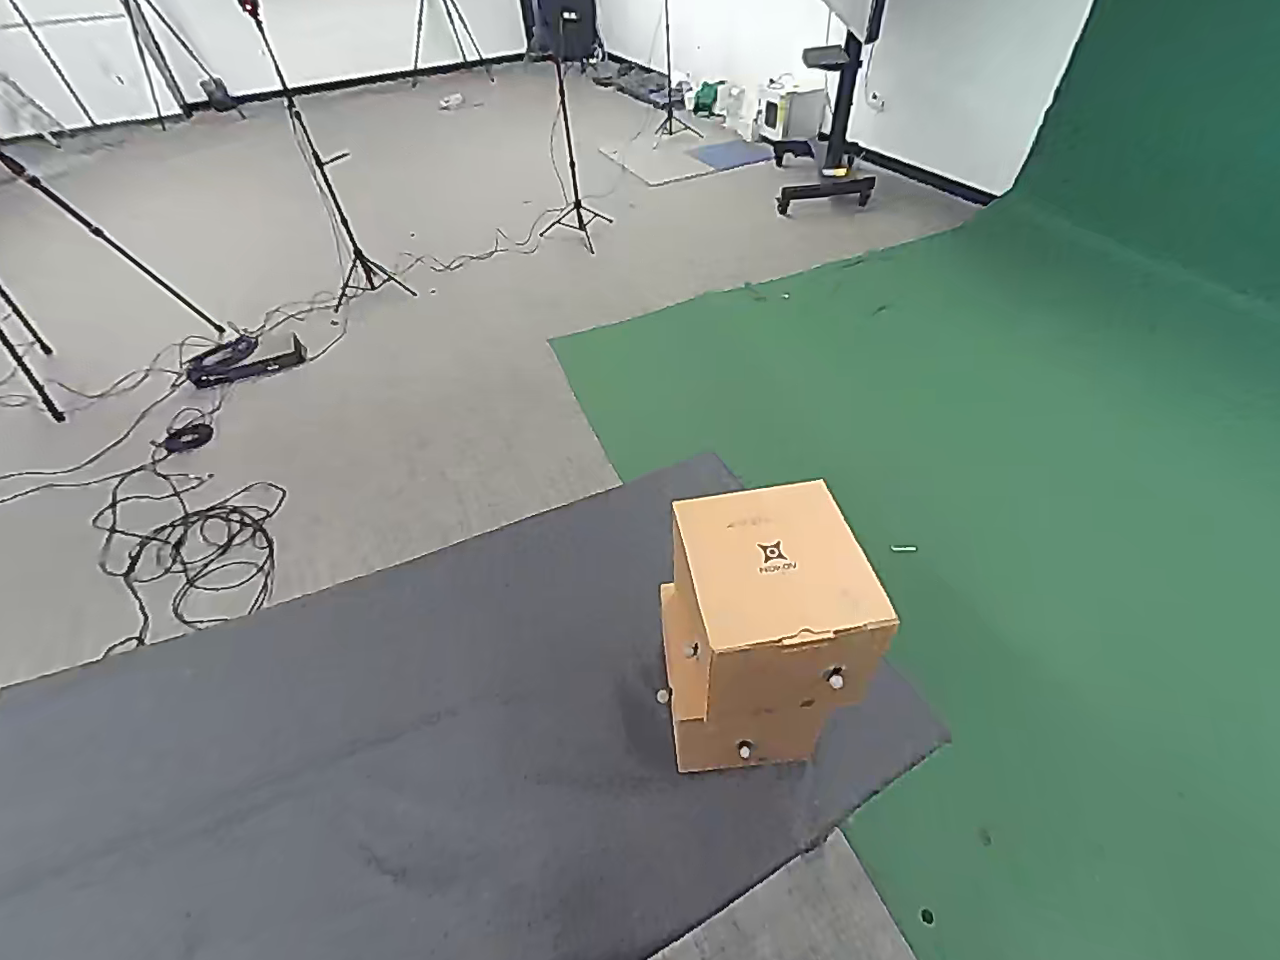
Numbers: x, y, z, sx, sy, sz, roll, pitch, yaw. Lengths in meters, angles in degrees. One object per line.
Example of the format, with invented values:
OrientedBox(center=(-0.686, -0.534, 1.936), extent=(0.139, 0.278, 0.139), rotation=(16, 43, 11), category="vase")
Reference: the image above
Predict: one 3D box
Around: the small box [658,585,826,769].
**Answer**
OrientedBox(center=(0.115, 0.242, 0.673), extent=(0.168, 0.176, 0.179), rotation=(-6, 45, 0), category="small box")

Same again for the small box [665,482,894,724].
OrientedBox(center=(0.124, 0.130, 0.554), extent=(0.168, 0.176, 0.179), rotation=(-9, 45, -4), category="small box")
